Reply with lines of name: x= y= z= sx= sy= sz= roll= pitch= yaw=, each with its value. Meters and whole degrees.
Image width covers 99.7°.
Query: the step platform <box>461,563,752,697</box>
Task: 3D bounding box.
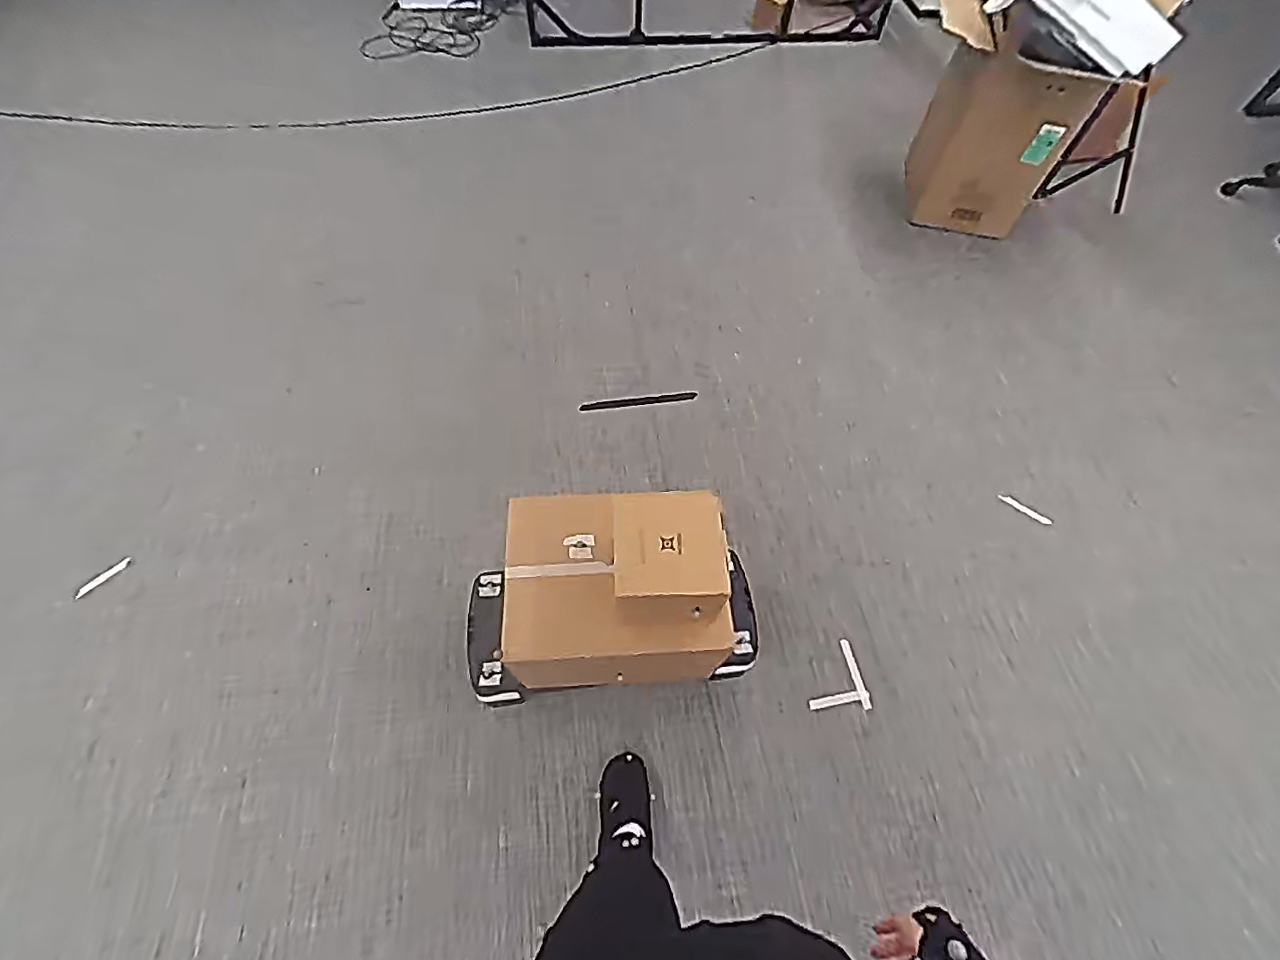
step platform: x=-0.075 y=0.358 z=1.316 sx=0.684 sy=0.204 sz=0.286 roll=-1 pitch=61 yaw=-2

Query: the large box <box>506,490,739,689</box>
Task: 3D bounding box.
large box: x=-0.040 y=0.236 z=1.113 sx=0.408 sy=0.320 sz=0.320 roll=-3 pitch=60 yaw=-3

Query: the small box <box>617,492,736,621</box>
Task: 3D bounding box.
small box: x=0.051 y=0.131 z=0.895 sx=0.179 sy=0.176 sz=0.168 roll=-1 pitch=61 yaw=-2
